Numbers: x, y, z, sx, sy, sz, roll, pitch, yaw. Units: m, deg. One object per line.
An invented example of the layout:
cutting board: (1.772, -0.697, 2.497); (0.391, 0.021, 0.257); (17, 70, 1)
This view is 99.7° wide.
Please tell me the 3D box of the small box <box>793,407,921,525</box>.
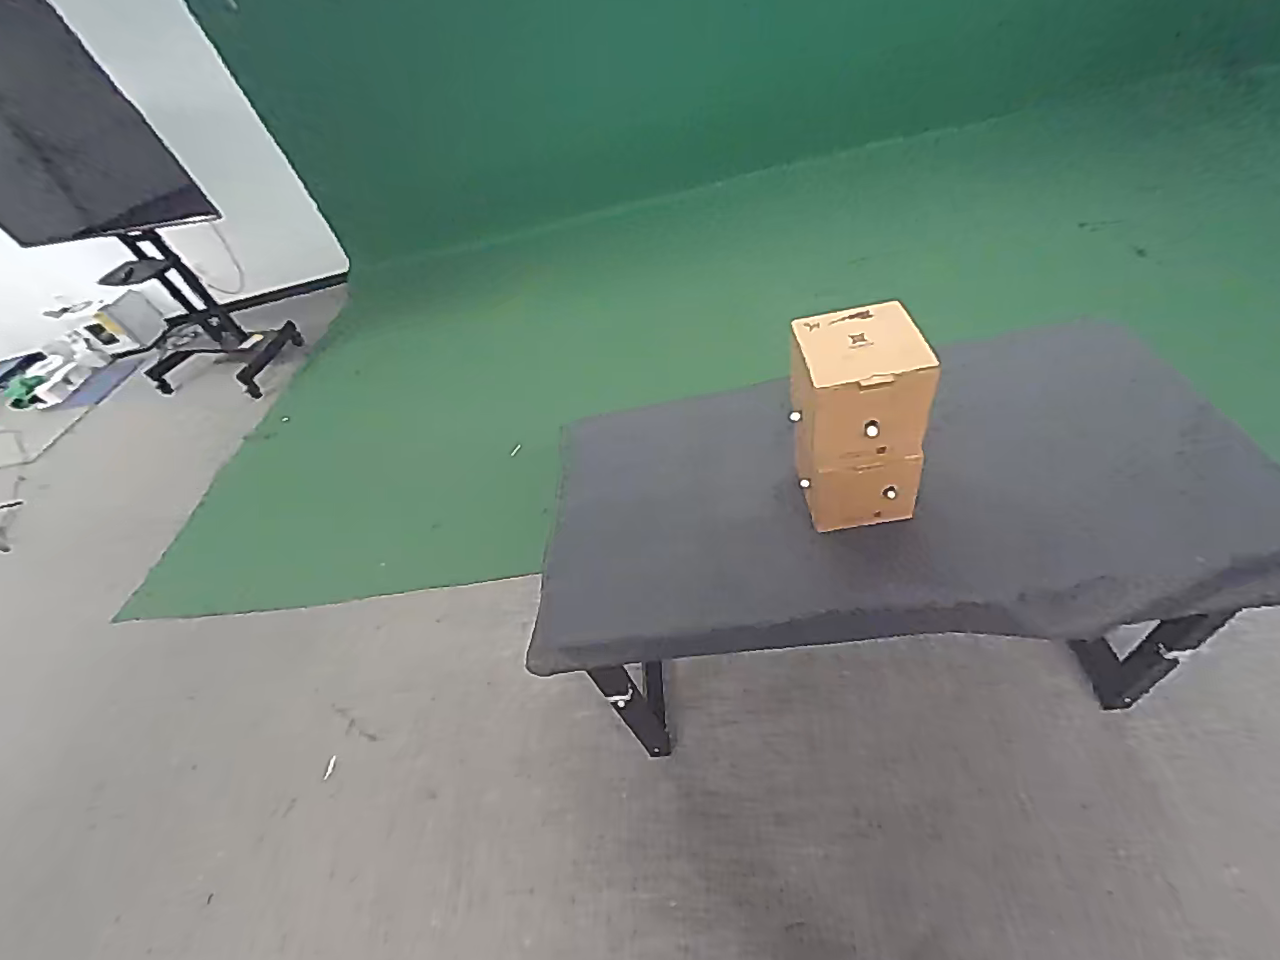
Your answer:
small box: (0.377, -0.035, 0.965); (0.168, 0.176, 0.179); (-10, 46, 7)

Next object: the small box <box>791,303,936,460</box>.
small box: (0.338, -0.146, 0.851); (0.168, 0.176, 0.179); (-8, 48, 8)
